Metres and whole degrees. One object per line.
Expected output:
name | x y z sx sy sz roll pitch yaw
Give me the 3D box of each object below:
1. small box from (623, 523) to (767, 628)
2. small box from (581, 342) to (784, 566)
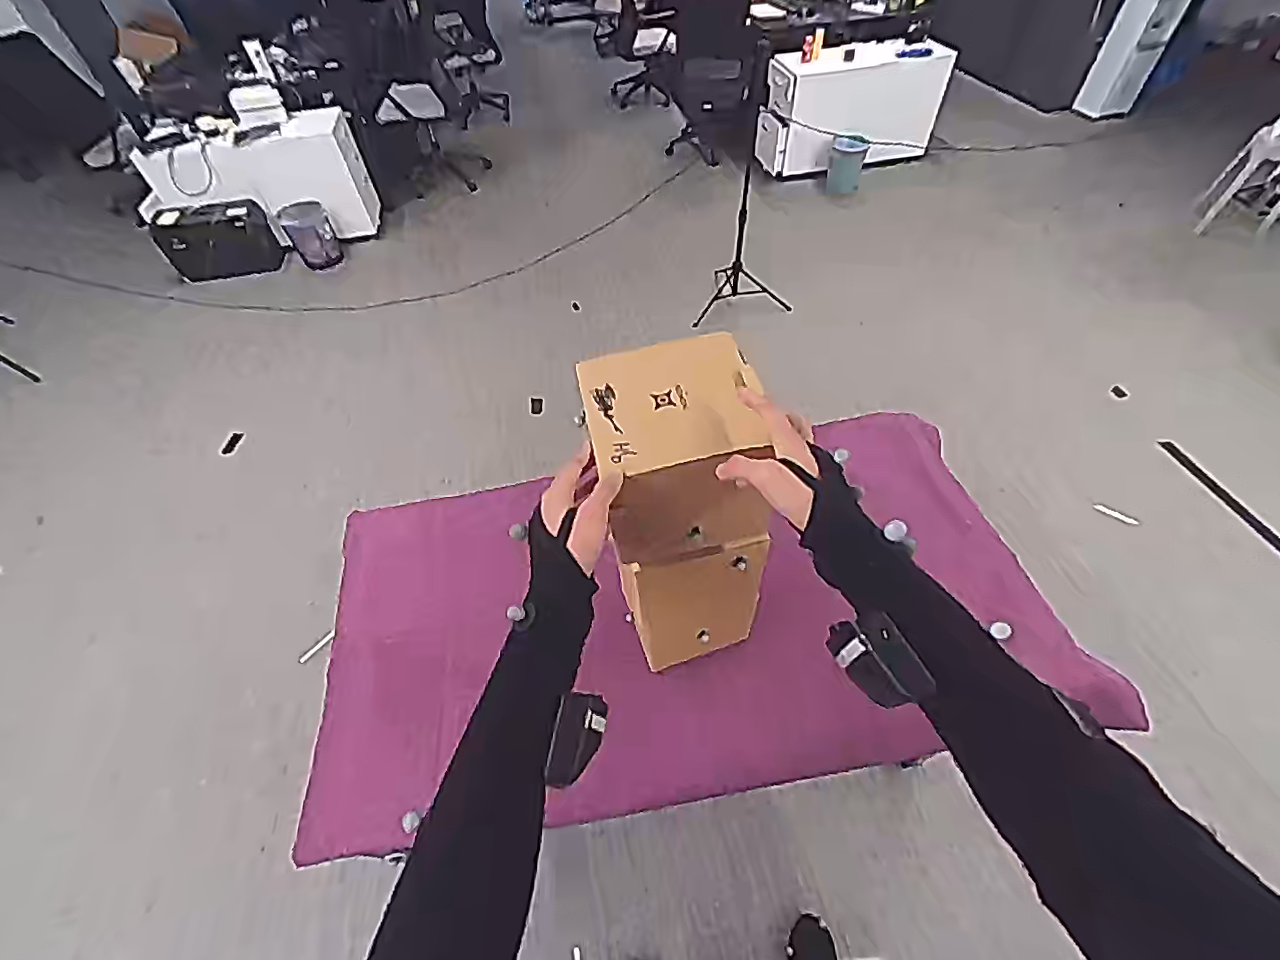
small box | 0.059 0.087 0.761 0.179 0.176 0.168 -12 51 -7
small box | 0.039 -0.025 0.604 0.179 0.176 0.168 -12 53 -4
